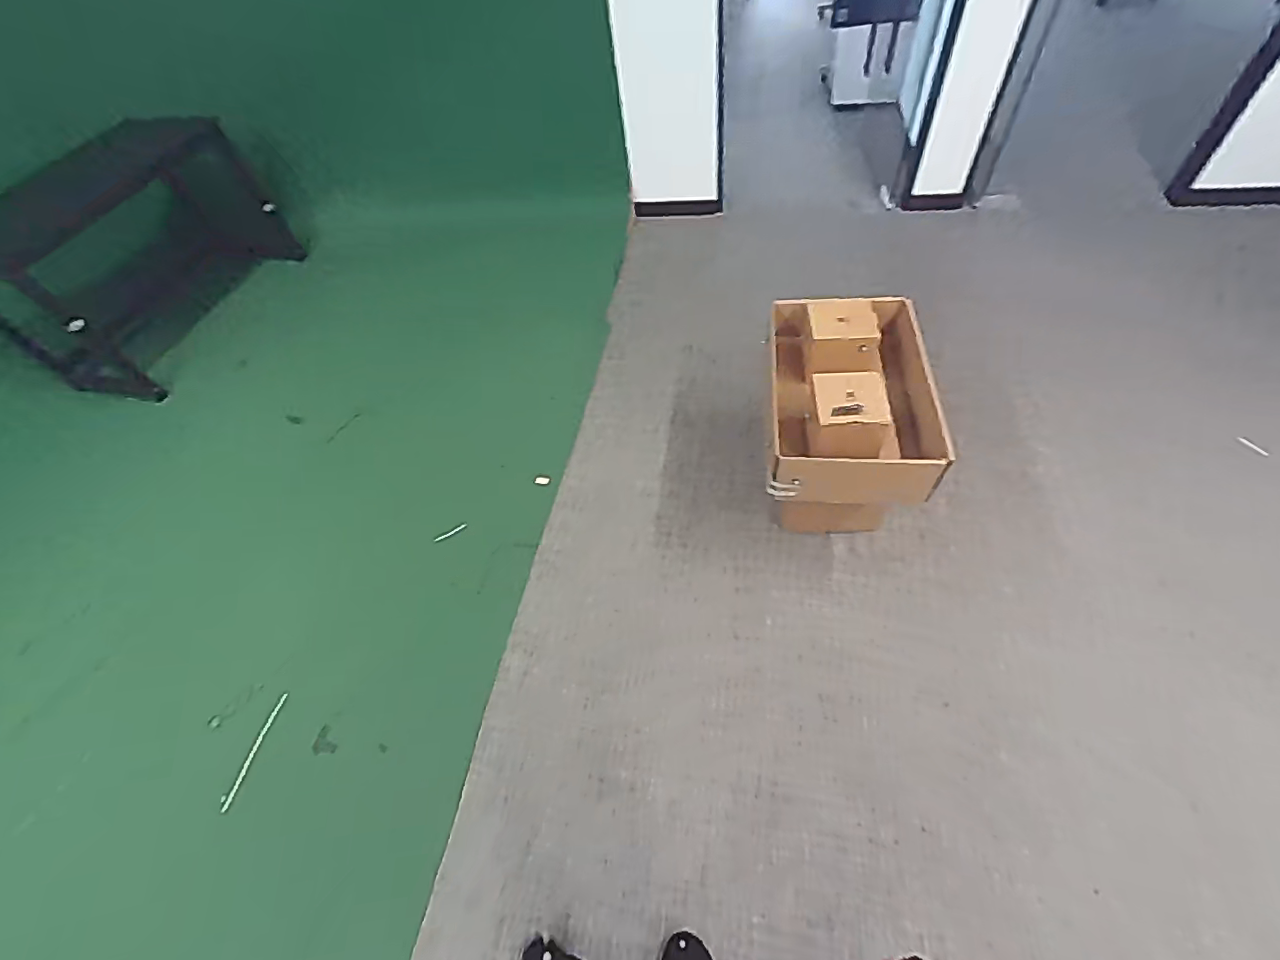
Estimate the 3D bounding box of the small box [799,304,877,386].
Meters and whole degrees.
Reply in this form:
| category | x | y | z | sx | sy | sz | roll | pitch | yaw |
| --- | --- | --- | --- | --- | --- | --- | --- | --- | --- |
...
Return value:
| category | x | y | z | sx | sy | sz | roll | pitch | yaw |
| --- | --- | --- | --- | --- | --- | --- | --- | --- | --- |
| small box | 0.563 | -0.387 | 1.565 | 0.179 | 0.176 | 0.168 | -1 | 53 | 7 |
